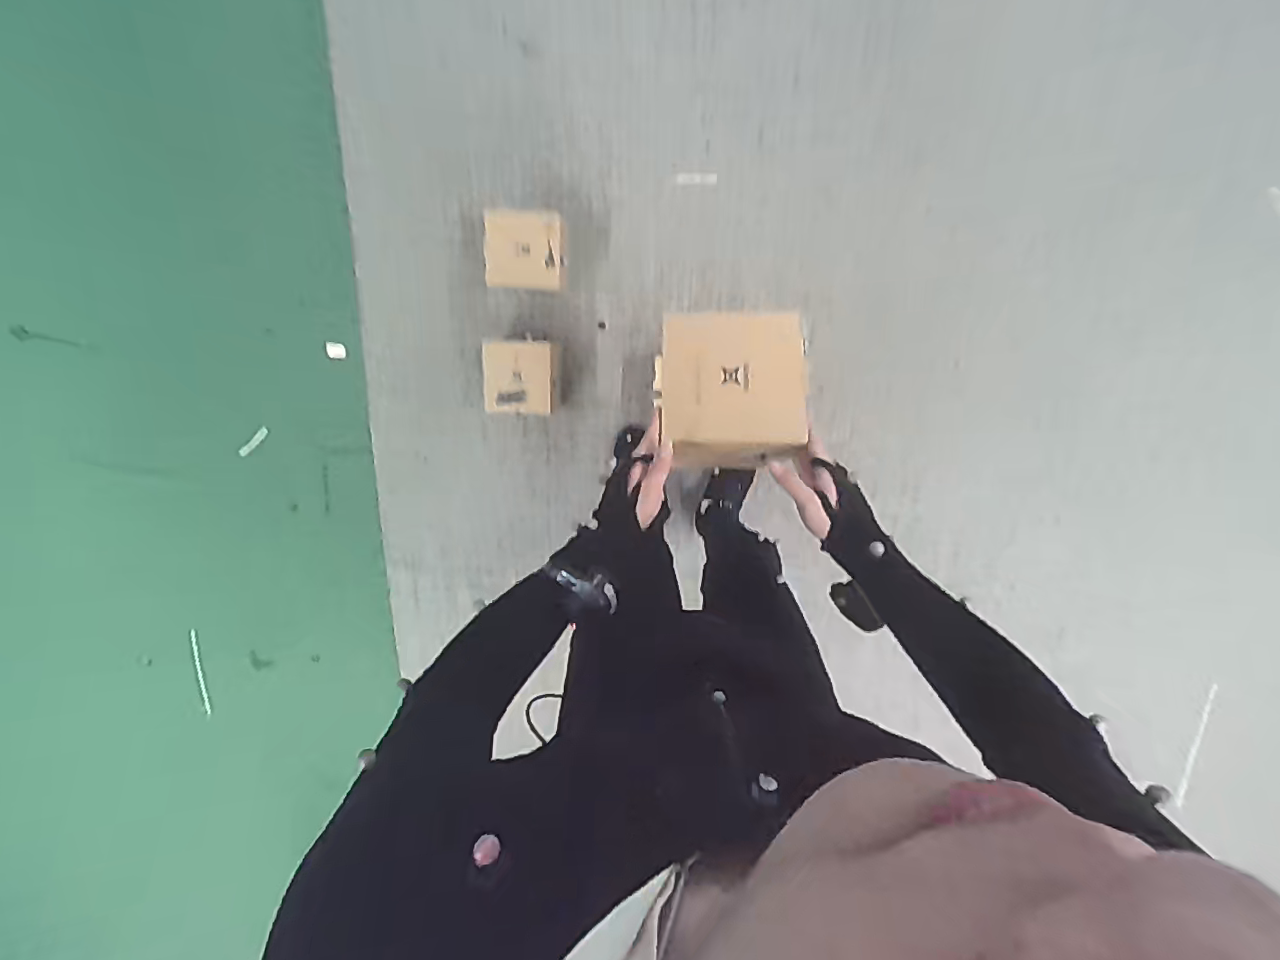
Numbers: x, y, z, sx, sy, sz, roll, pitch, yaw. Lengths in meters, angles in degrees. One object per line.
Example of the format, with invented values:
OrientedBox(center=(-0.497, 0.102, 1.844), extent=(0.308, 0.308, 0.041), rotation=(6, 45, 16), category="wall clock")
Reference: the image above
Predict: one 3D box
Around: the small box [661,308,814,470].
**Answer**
OrientedBox(center=(0.118, -0.109, 0.710), extent=(0.179, 0.176, 0.168), rotation=(2, 81, 4), category="small box")

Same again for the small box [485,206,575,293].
OrientedBox(center=(-0.260, -0.546, 1.301), extent=(0.179, 0.176, 0.168), rotation=(4, 104, 1), category="small box")

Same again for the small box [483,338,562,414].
OrientedBox(center=(-0.291, -0.267, 1.373), extent=(0.168, 0.176, 0.179), rotation=(3, 104, 1), category="small box")
